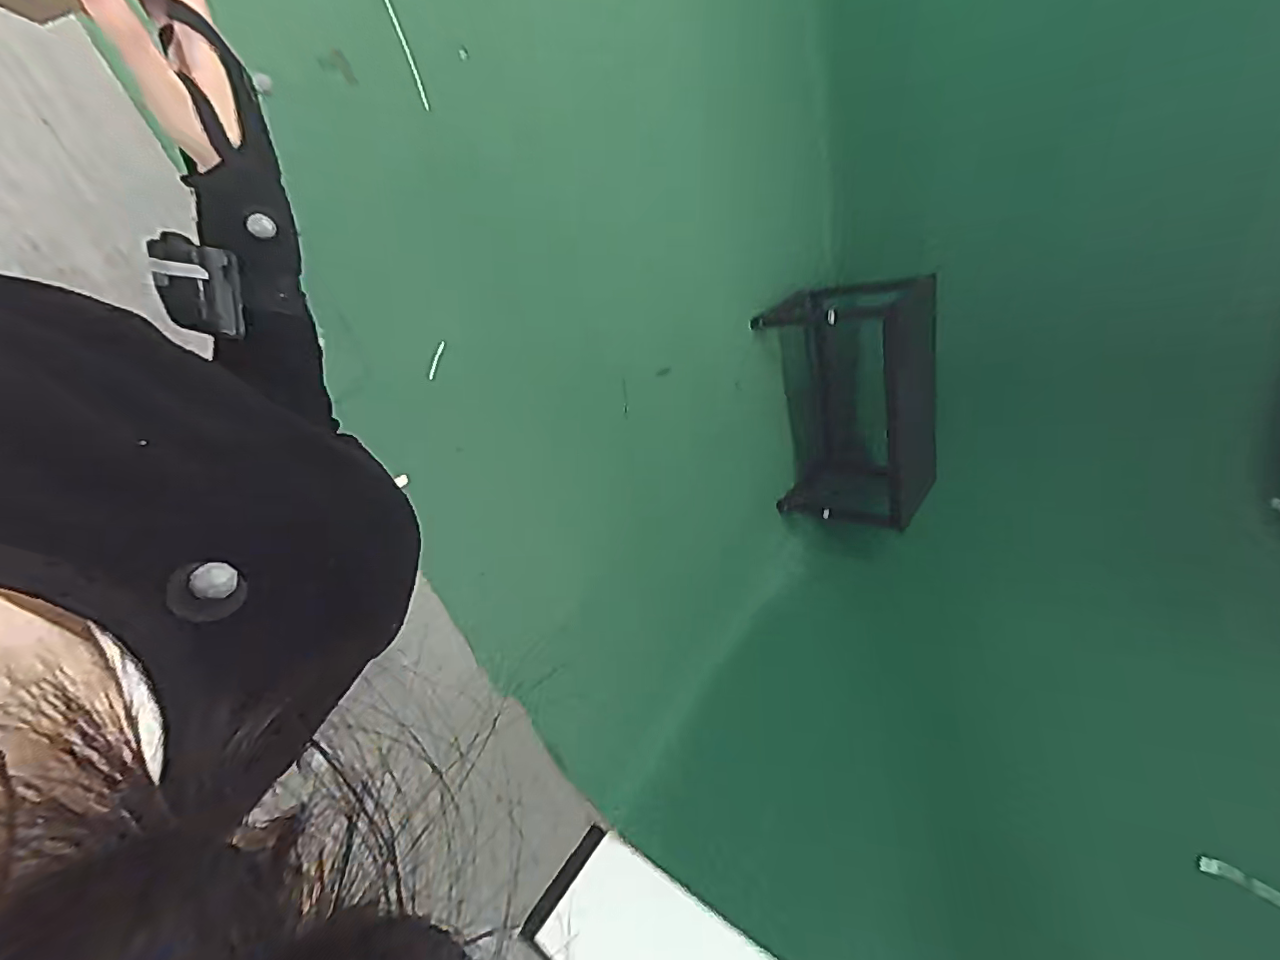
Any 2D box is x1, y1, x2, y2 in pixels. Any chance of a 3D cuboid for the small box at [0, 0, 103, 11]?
[{"bbox_3d":[-0.370,-0.351,0.235,0.179,0.176,0.168,-4,115,-55],"label":"small box"}]
